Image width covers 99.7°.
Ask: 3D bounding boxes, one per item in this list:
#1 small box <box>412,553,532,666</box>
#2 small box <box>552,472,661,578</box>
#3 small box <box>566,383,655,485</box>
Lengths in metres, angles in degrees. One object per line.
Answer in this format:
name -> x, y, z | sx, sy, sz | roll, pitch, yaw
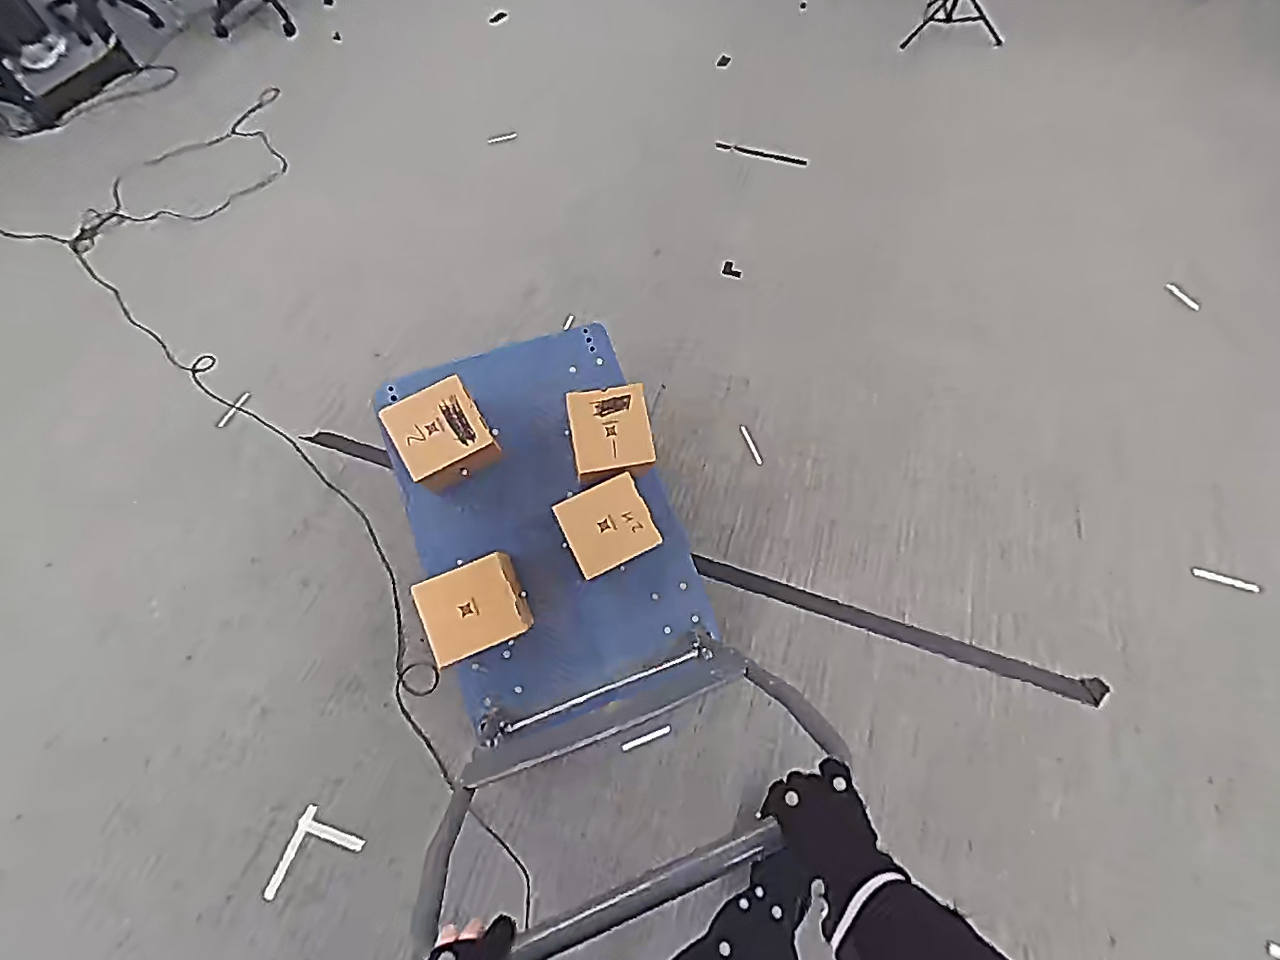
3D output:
small box -> -0.337, 0.263, 1.117 | 0.179, 0.176, 0.168 | -22, 83, -10
small box -> -0.073, 0.104, 1.170 | 0.179, 0.176, 0.168 | -26, 84, -9
small box -> -0.070, -0.096, 1.205 | 0.168, 0.176, 0.179 | -10, 82, -7
